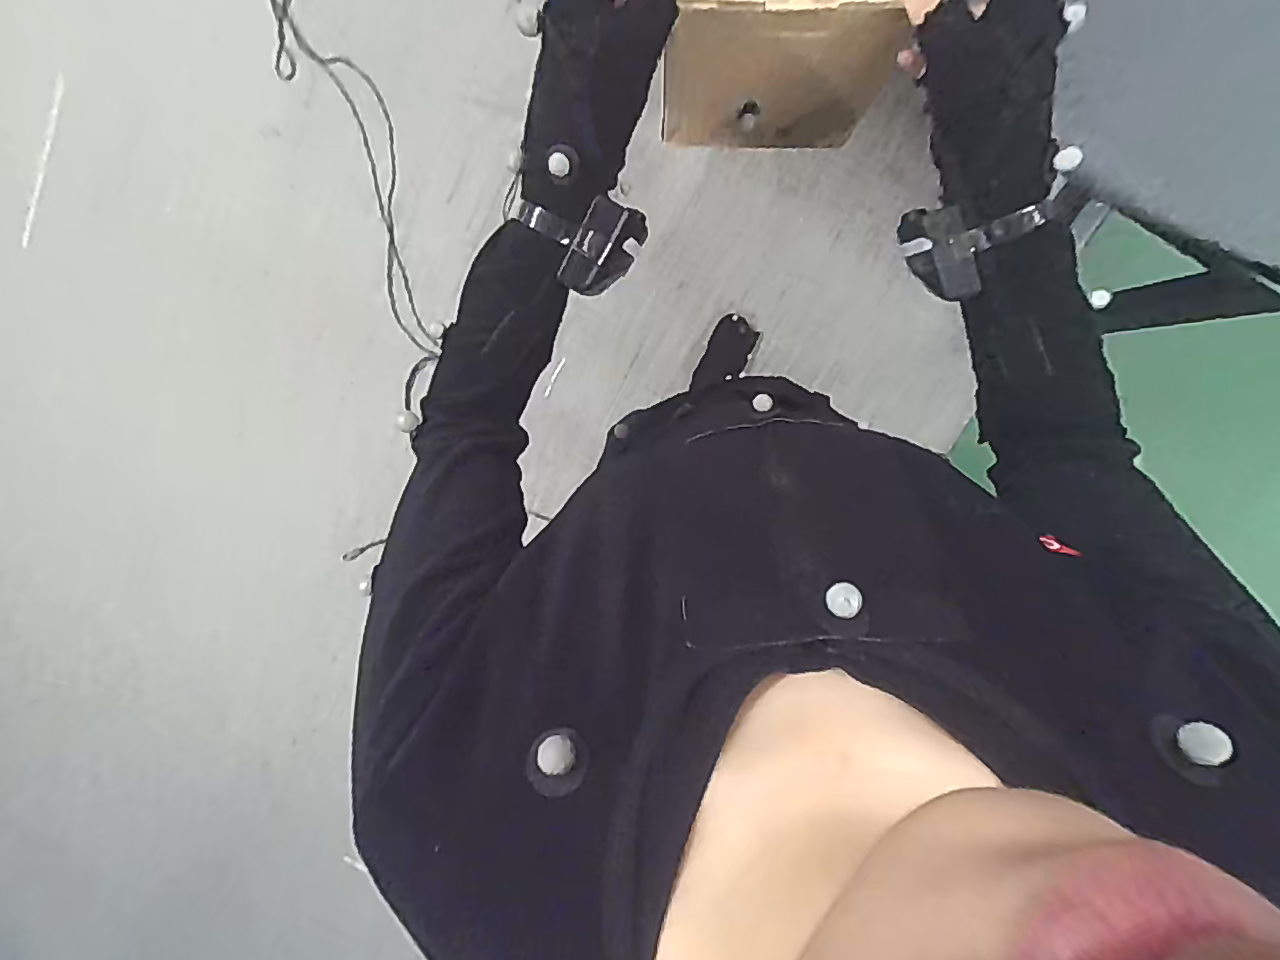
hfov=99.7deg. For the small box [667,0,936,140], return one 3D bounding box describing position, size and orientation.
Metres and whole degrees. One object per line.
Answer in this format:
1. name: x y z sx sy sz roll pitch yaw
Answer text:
1. small box: 0.107 -0.390 0.401 0.168 0.176 0.179 2 97 2
